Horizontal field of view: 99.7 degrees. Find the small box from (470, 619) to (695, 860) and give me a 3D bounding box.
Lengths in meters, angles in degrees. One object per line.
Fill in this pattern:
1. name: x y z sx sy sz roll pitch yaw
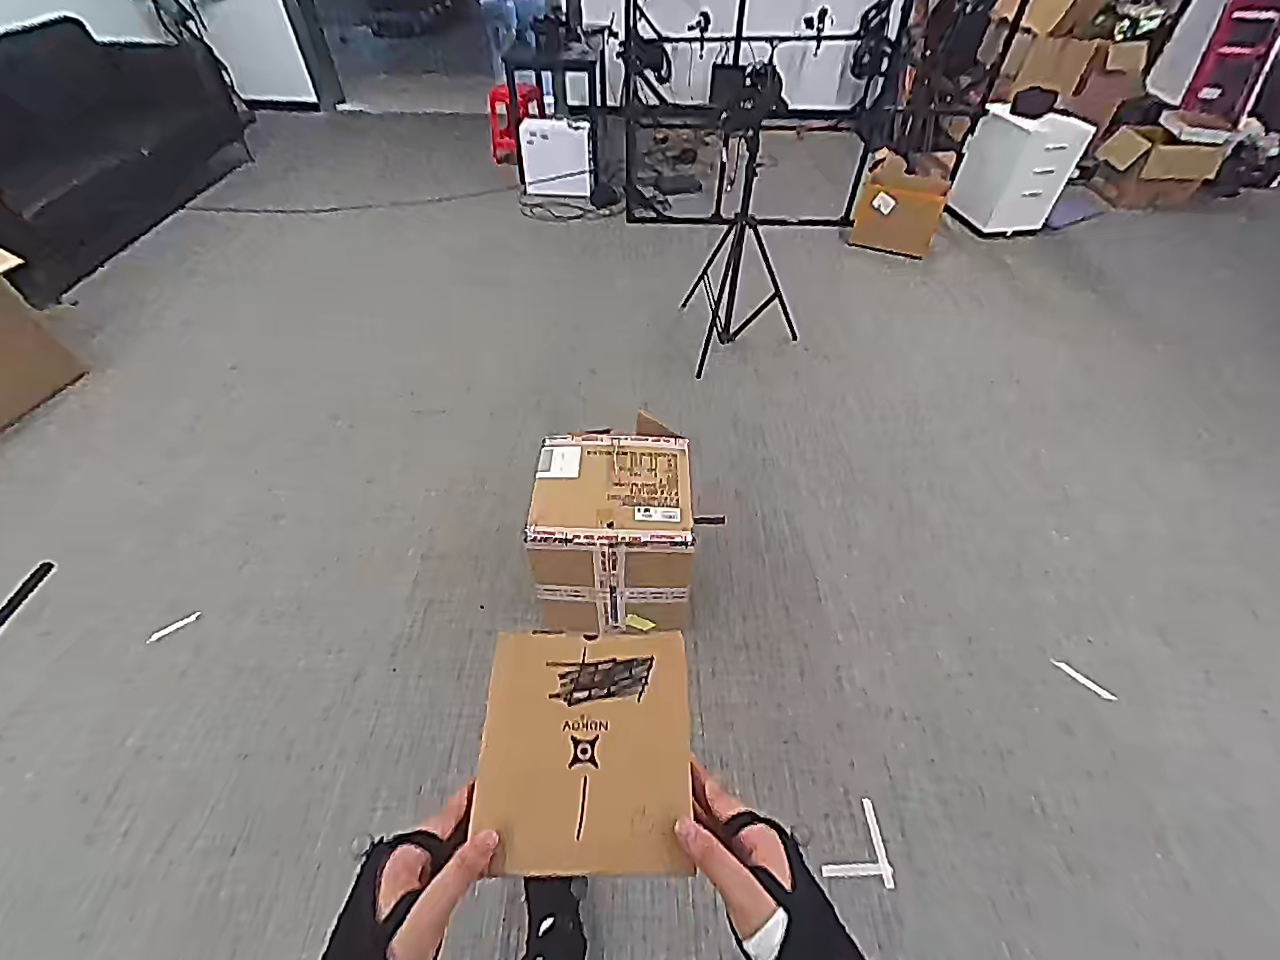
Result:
1. small box: -0.044 0.243 0.500 0.168 0.176 0.179 1 55 -1
